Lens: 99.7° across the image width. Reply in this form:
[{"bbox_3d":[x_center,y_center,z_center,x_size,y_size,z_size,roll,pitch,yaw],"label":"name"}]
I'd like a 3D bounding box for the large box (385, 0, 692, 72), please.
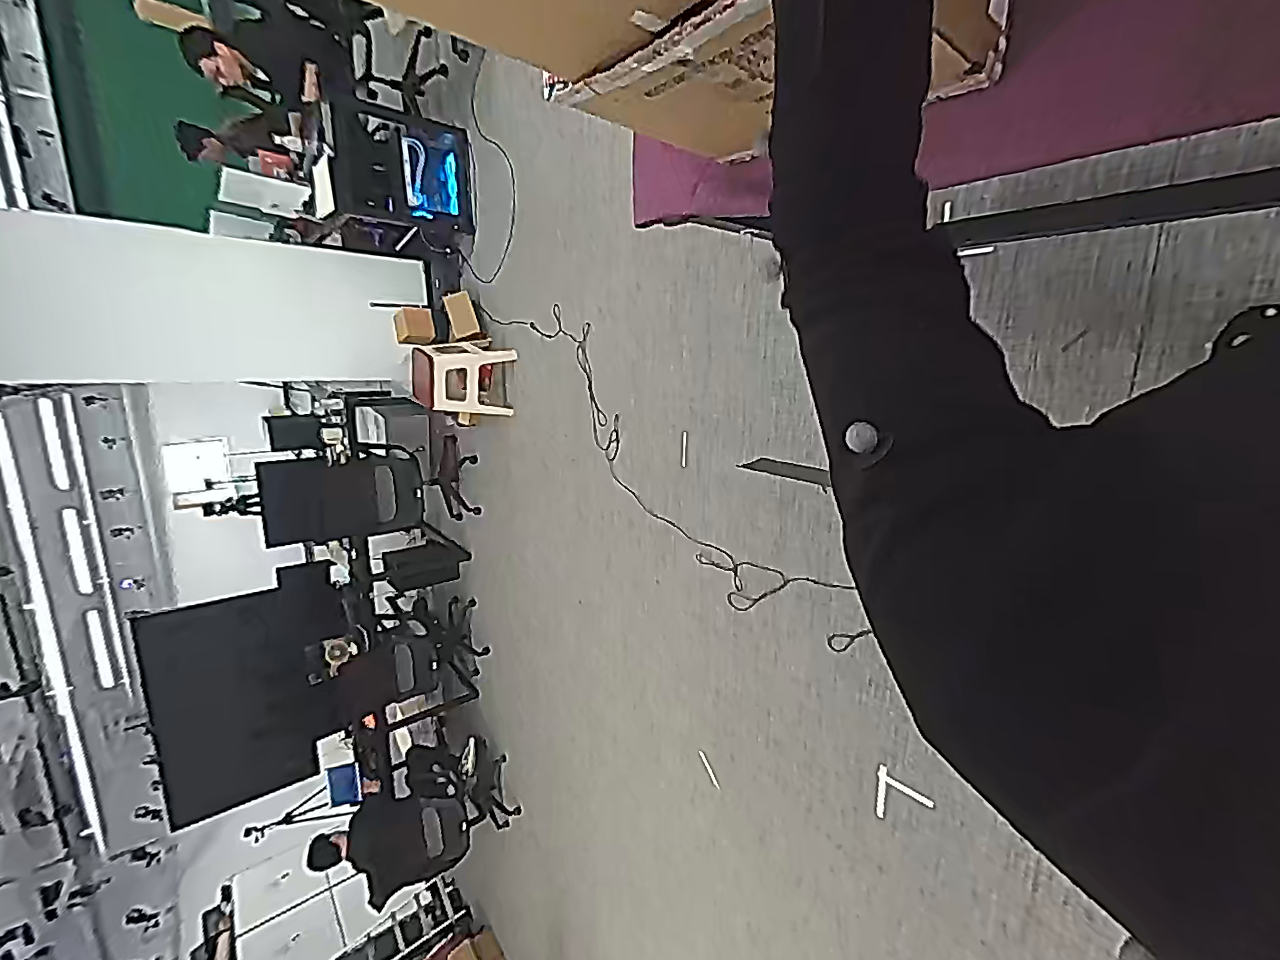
[{"bbox_3d":[-0.086,-0.606,0.368,0.320,0.320,0.408,16,111,51],"label":"large box"}]
